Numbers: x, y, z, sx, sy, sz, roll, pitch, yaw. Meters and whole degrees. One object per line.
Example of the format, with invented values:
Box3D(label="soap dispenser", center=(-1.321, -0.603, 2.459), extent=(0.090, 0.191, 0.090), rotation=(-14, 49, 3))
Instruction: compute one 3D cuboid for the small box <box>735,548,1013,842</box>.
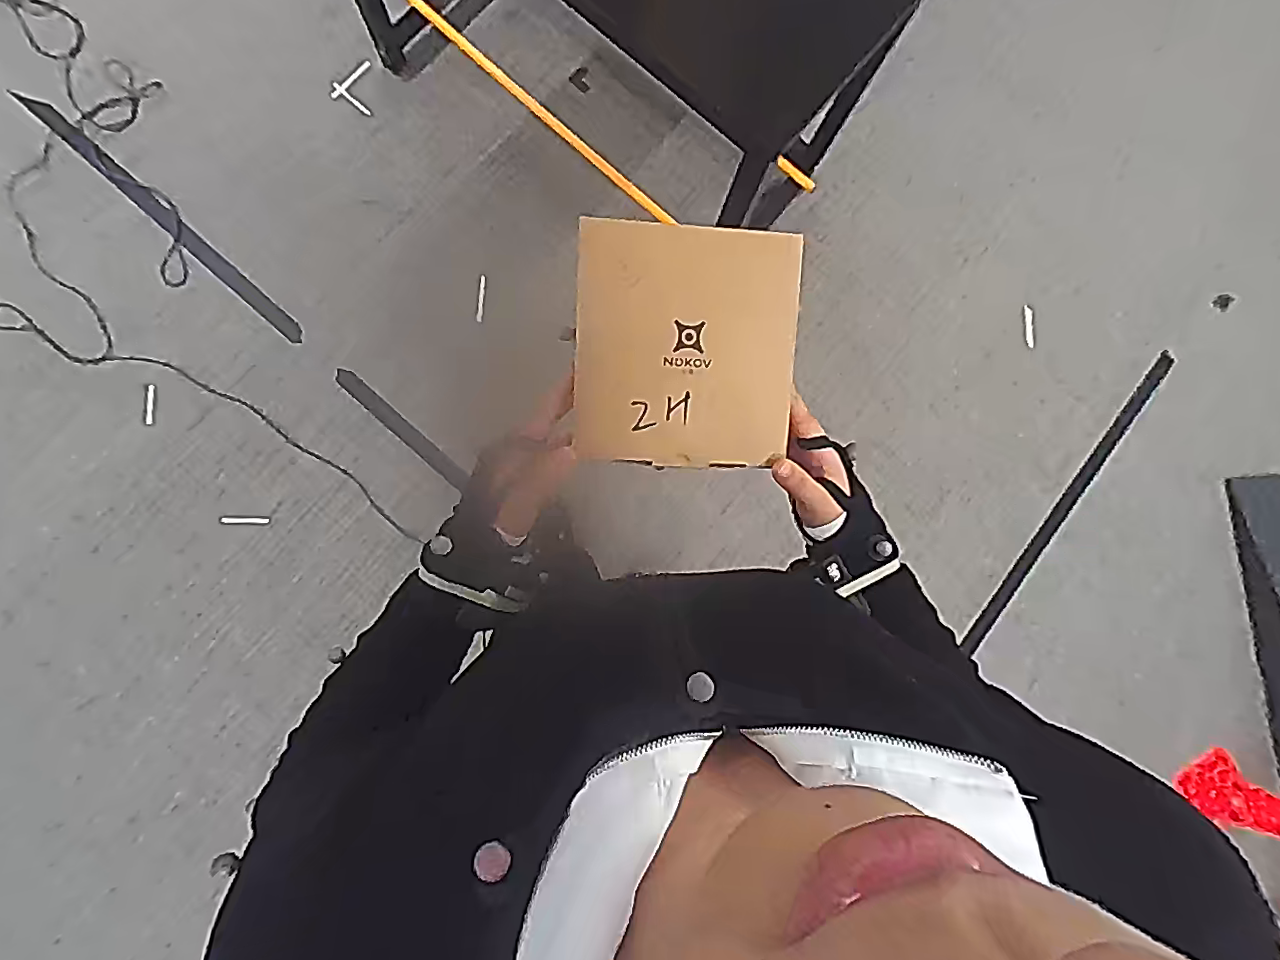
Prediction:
Box3D(label="small box", center=(0.195, 0.194, 0.492), extent=(0.179, 0.176, 0.168), rotation=(16, 122, -2))
